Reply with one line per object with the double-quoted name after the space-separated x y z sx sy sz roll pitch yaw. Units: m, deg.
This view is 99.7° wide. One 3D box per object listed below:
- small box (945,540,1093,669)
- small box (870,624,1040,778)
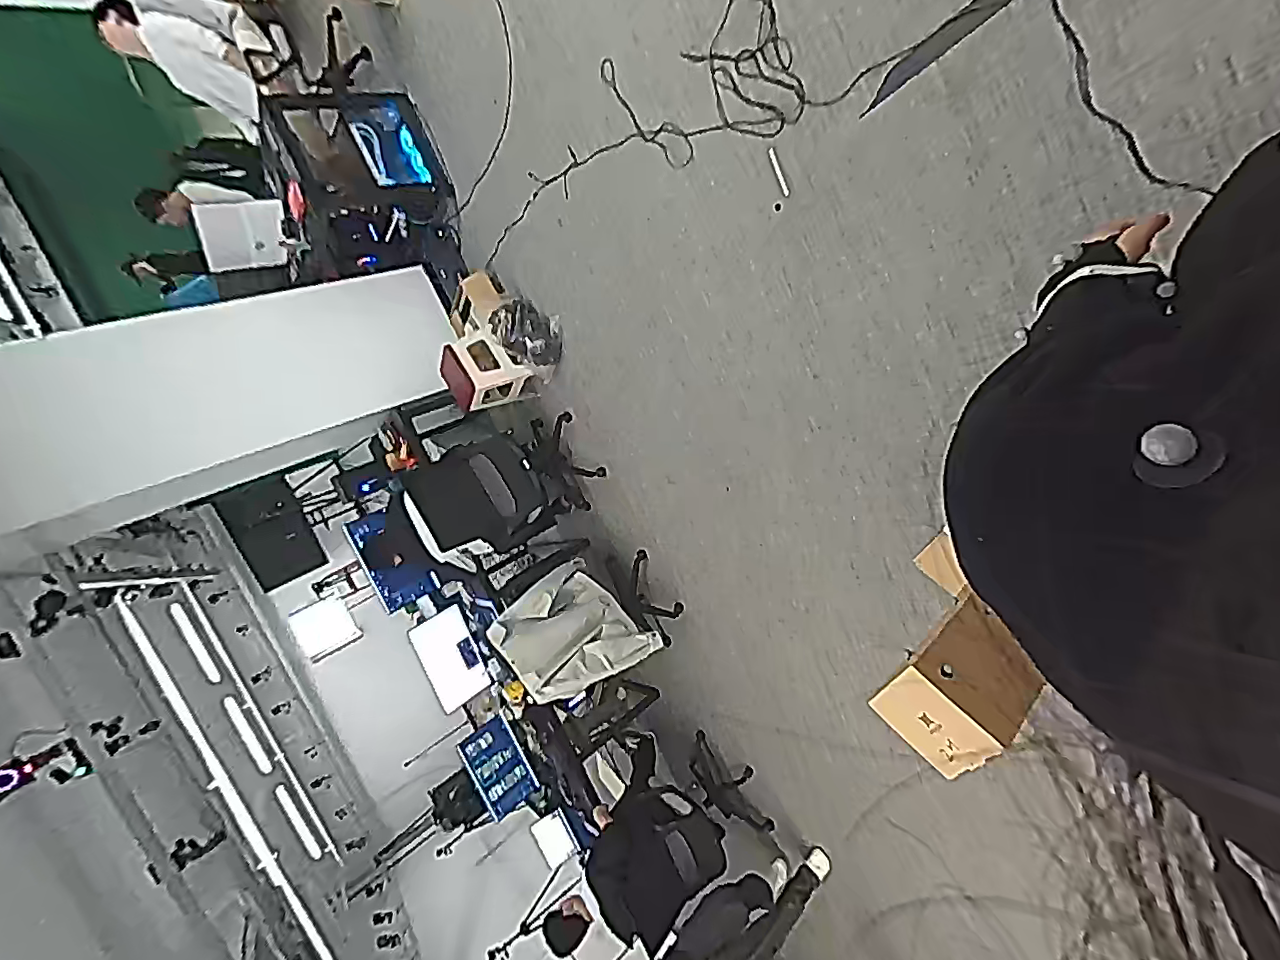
0.809 0.259 1.154 0.179 0.176 0.168 44 143 28 "small box"
0.563 0.387 0.975 0.179 0.176 0.168 44 144 27 "small box"
